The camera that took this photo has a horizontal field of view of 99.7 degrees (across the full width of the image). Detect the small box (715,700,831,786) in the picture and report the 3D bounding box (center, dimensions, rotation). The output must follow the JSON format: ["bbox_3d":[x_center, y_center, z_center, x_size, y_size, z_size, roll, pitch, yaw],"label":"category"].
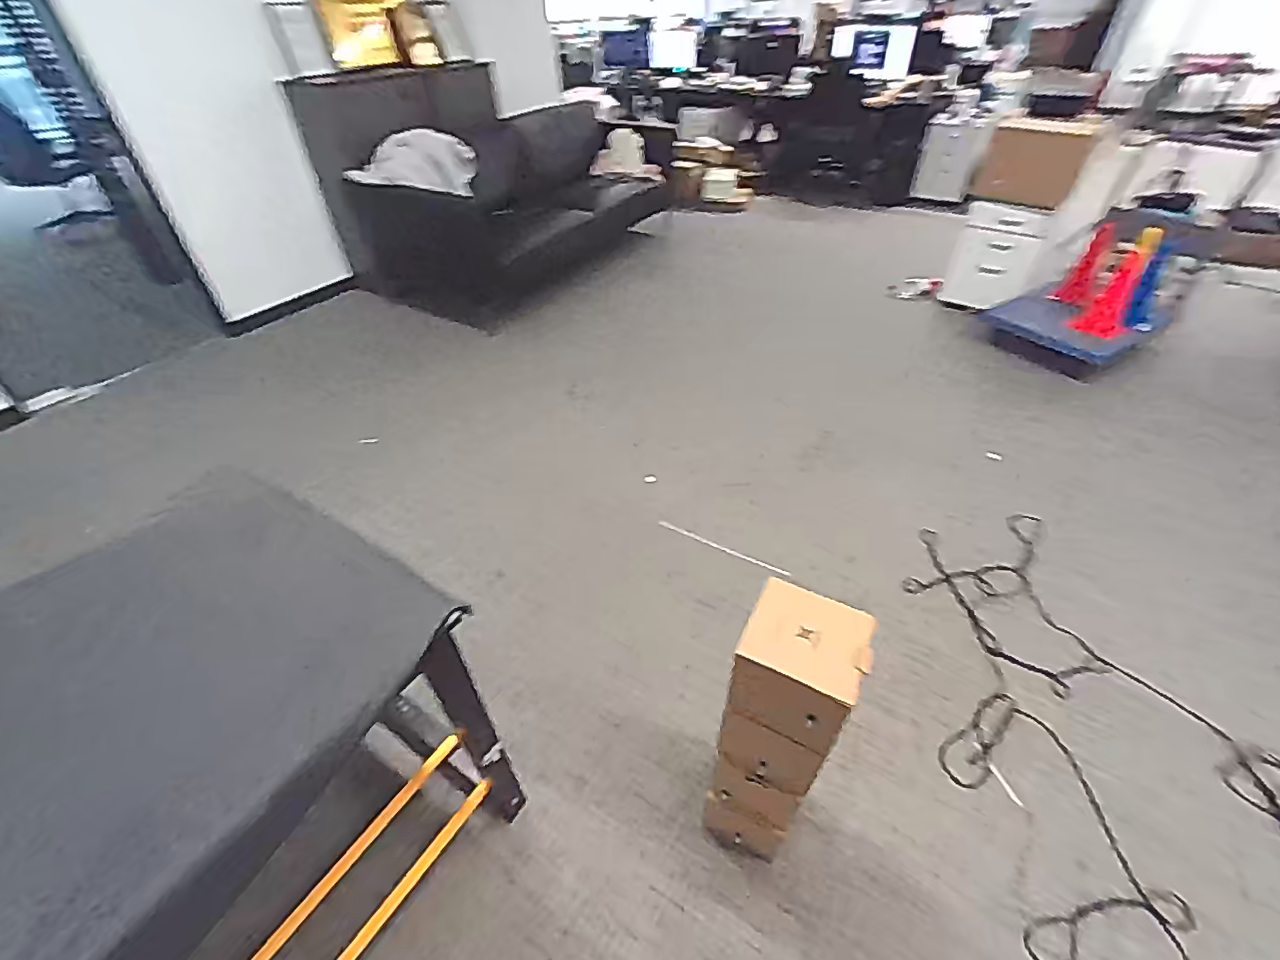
[{"bbox_3d":[0.250,0.419,0.976,0.179,0.176,0.168,19,45,21],"label":"small box"}]

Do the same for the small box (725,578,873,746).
[{"bbox_3d":[0.250,0.295,0.870,0.179,0.176,0.168,18,44,22],"label":"small box"}]

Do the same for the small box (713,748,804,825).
[{"bbox_3d":[0.251,0.545,1.081,0.168,0.176,0.179,18,44,21],"label":"small box"}]

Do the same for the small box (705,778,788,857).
[{"bbox_3d":[0.247,0.675,1.181,0.168,0.176,0.179,17,45,21],"label":"small box"}]
